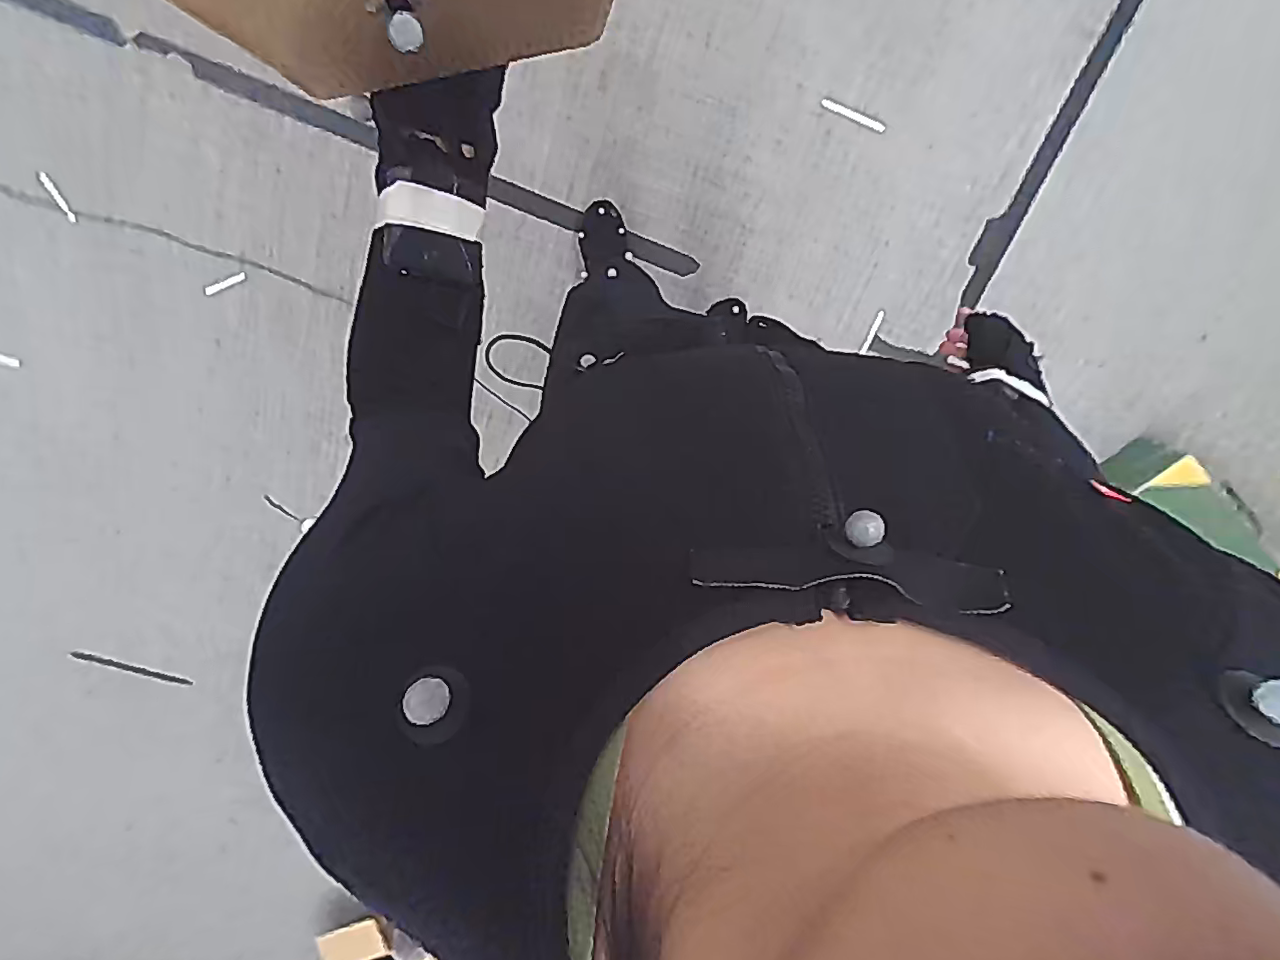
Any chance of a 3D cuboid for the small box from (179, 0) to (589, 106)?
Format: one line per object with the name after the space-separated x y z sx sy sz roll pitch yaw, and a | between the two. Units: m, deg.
-0.119 -0.285 0.221 0.179 0.176 0.168 -19 114 -2 | small box
